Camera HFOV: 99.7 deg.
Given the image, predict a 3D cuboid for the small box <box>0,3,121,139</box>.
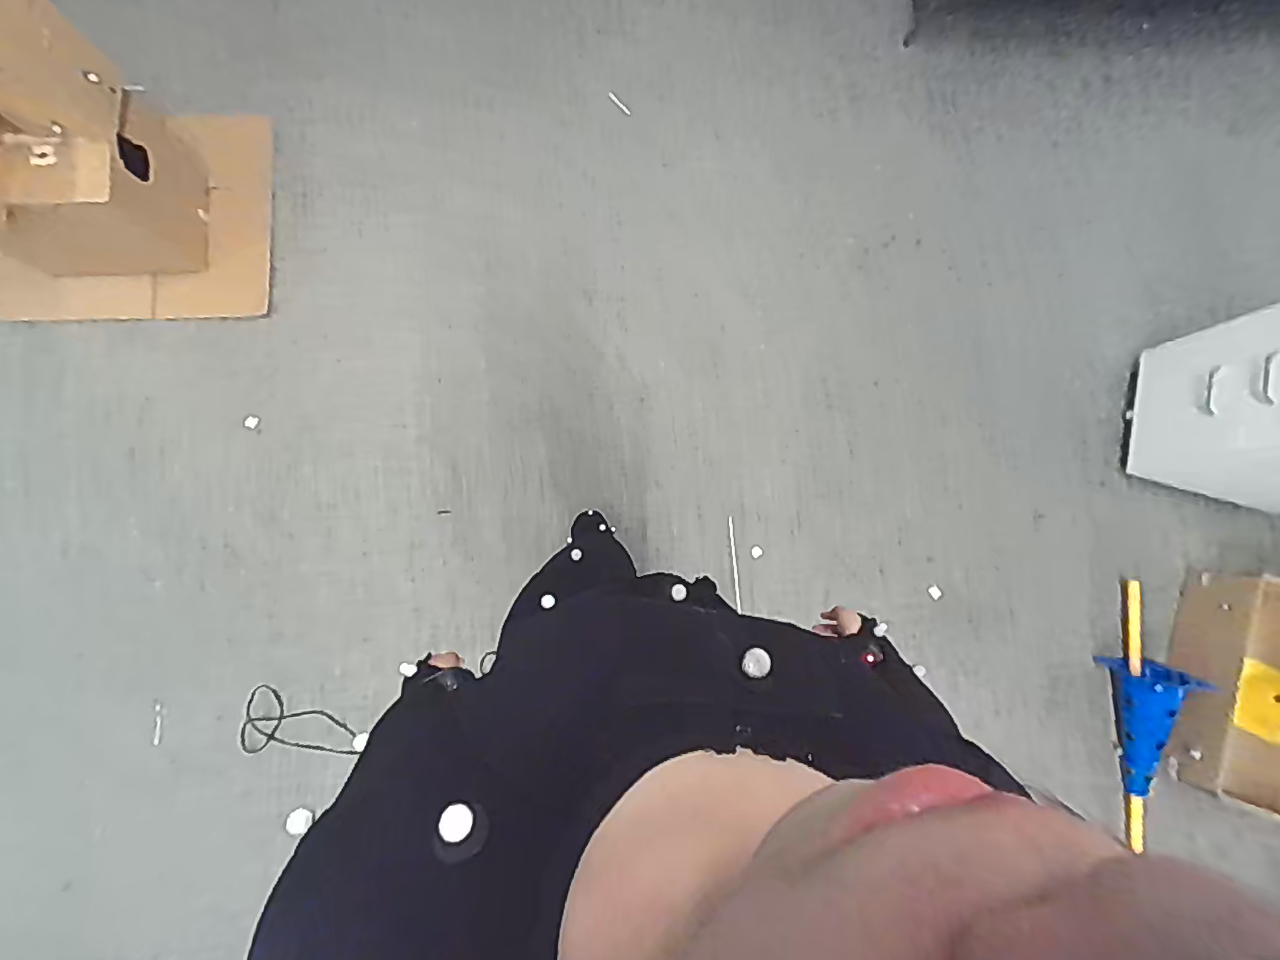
[{"bbox_3d":[-1.235,-0.837,1.116,0.179,0.176,0.168,0,83,-3],"label":"small box"}]
